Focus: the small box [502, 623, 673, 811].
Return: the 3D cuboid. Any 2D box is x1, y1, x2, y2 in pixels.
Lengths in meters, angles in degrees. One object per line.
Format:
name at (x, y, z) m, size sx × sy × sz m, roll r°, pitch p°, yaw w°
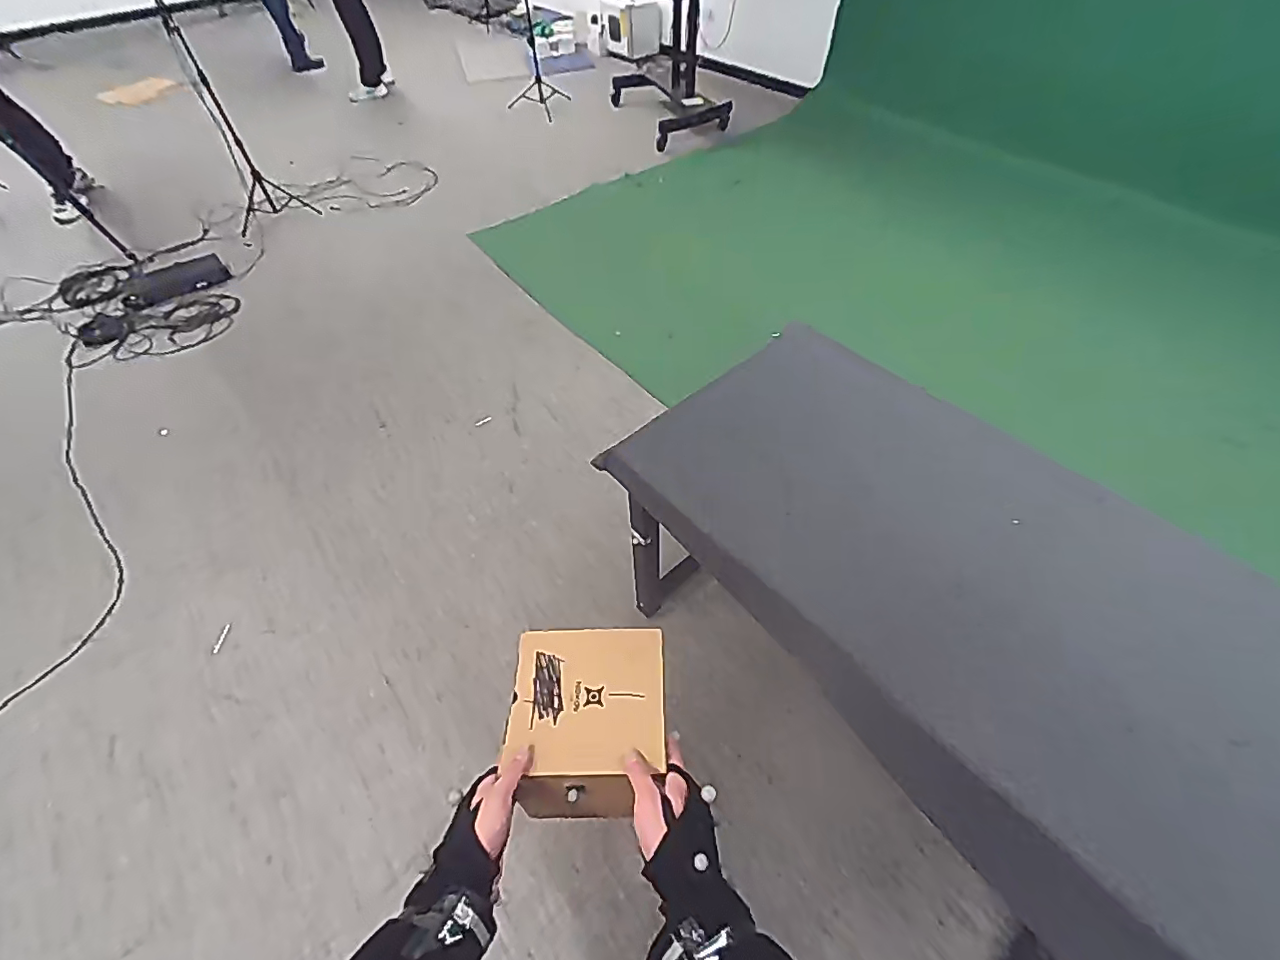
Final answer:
small box at (-0.050, 0.290, 0.658) m, size 0.179 × 0.176 × 0.168 m, roll -1°, pitch 46°, yaw 2°
